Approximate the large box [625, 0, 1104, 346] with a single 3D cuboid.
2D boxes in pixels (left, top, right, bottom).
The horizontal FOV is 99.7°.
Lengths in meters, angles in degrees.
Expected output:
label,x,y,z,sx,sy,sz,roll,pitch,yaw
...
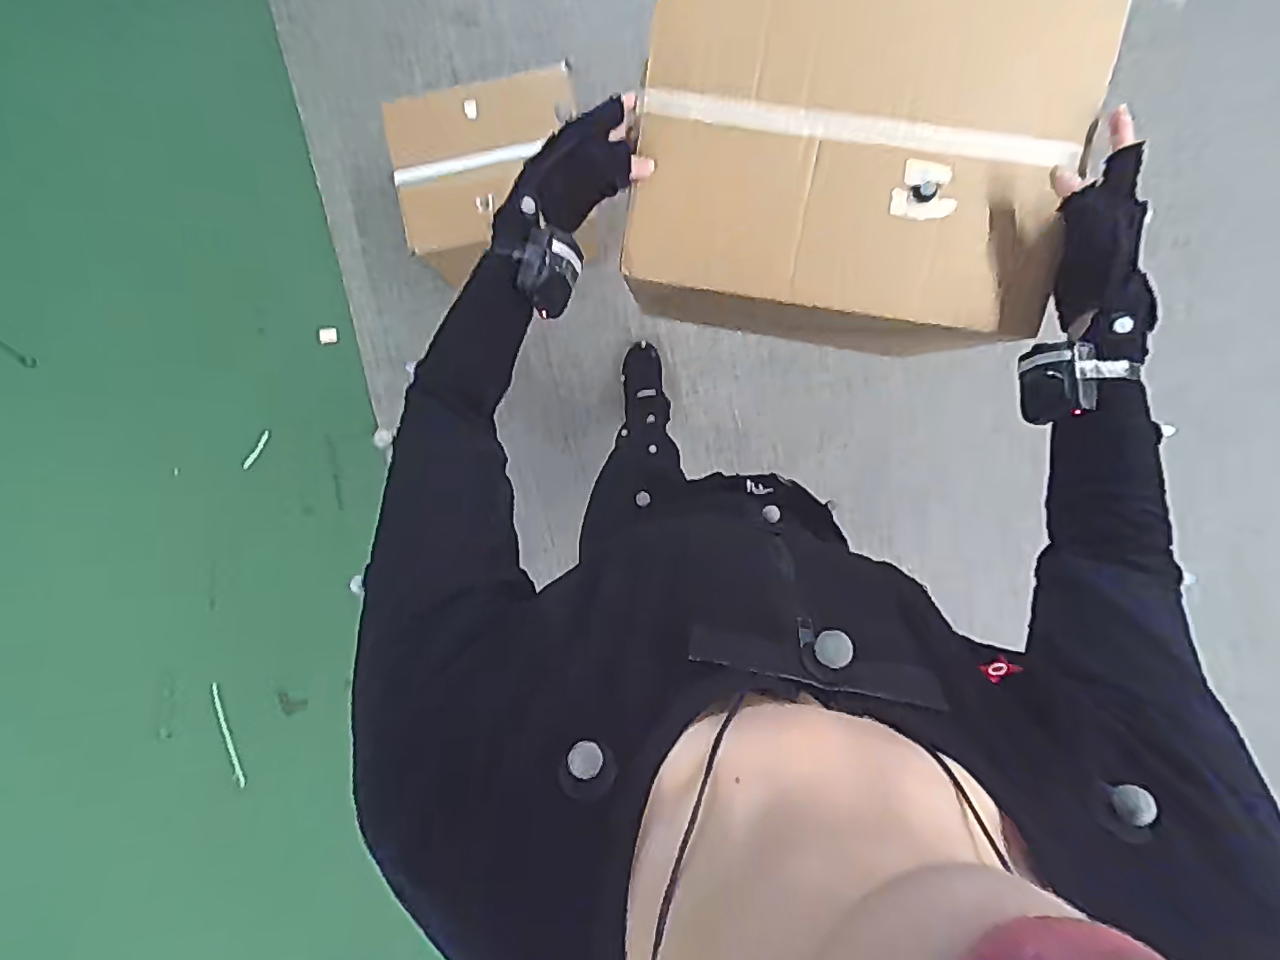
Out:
label,x,y,z,sx,sy,sz,roll,pitch,yaw
large box,0.206,-0.356,0.653,0.408,0.320,0.320,9,100,1
